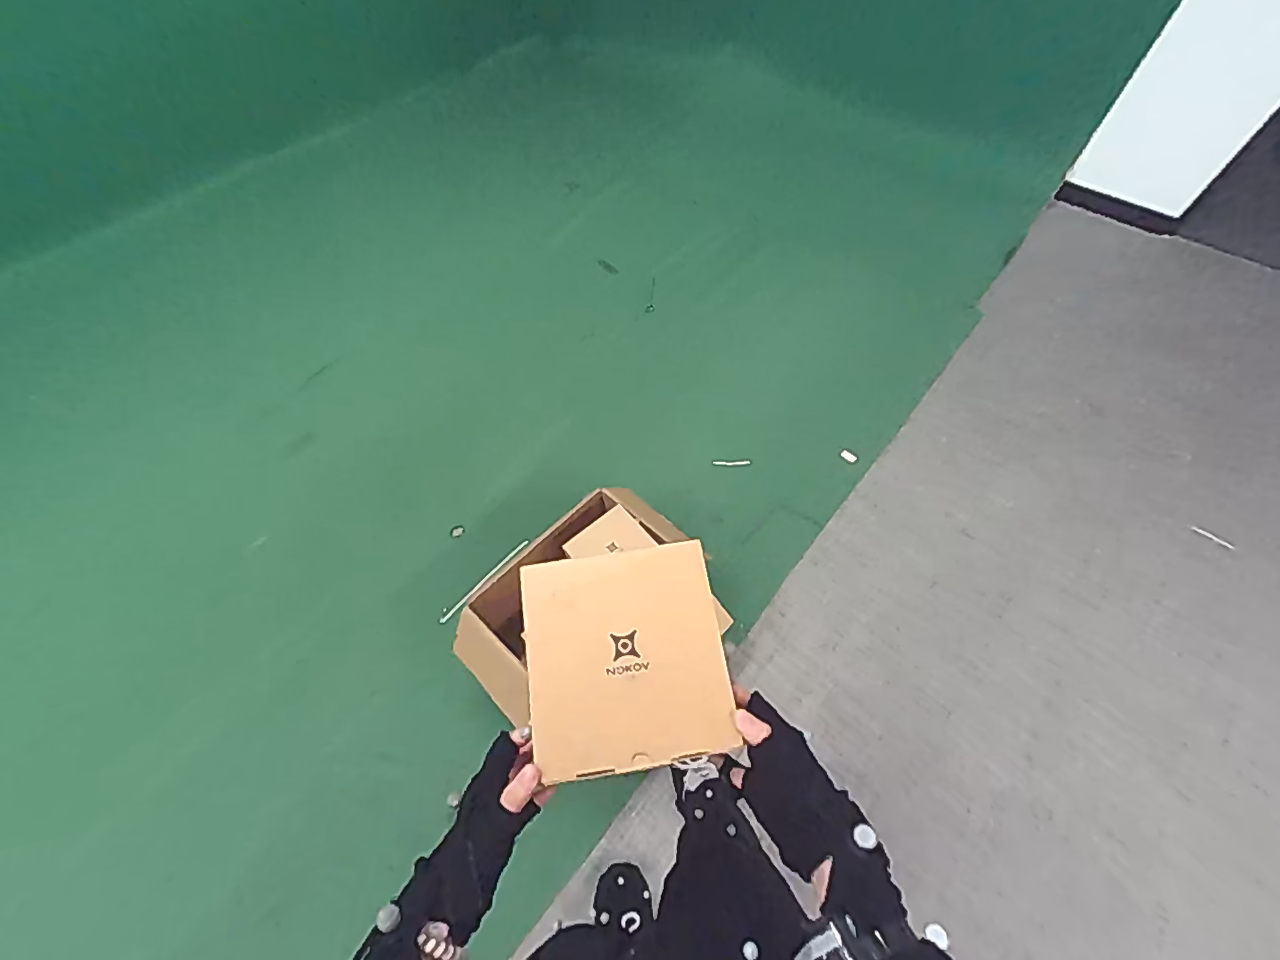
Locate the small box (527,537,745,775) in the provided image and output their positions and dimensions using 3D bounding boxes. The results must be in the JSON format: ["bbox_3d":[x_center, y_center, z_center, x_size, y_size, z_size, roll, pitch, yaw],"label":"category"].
[{"bbox_3d":[-0.013,0.171,0.528,0.168,0.176,0.179,-8,68,-6],"label":"small box"}]
